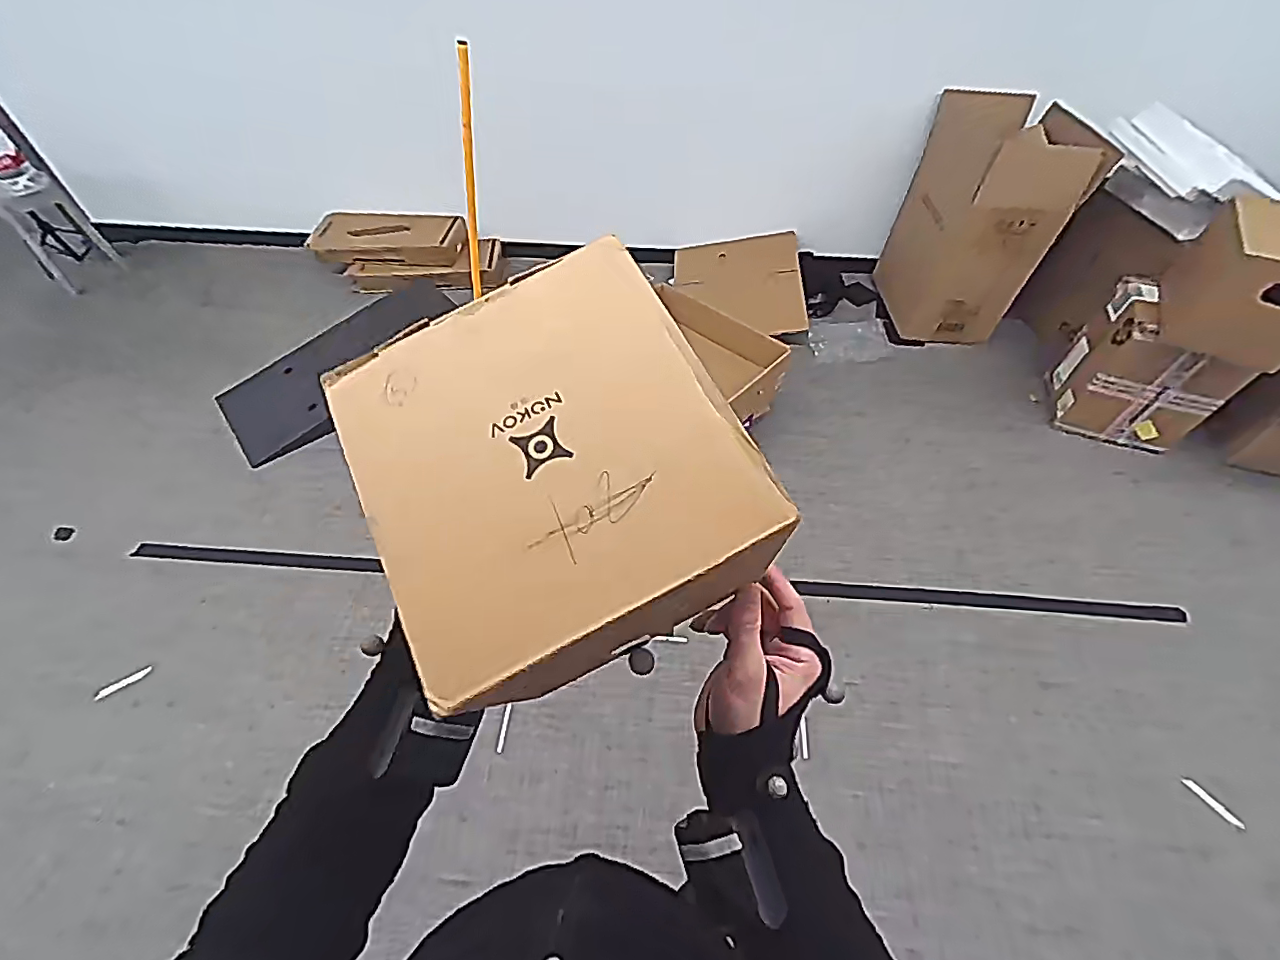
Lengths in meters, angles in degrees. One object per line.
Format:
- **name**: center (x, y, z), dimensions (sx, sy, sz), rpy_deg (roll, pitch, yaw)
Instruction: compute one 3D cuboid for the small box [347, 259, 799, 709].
- **small box**: center (-0.033, 0.014, 0.331), dimensions (0.168, 0.176, 0.179), rpy_deg (-29, 71, -3)
